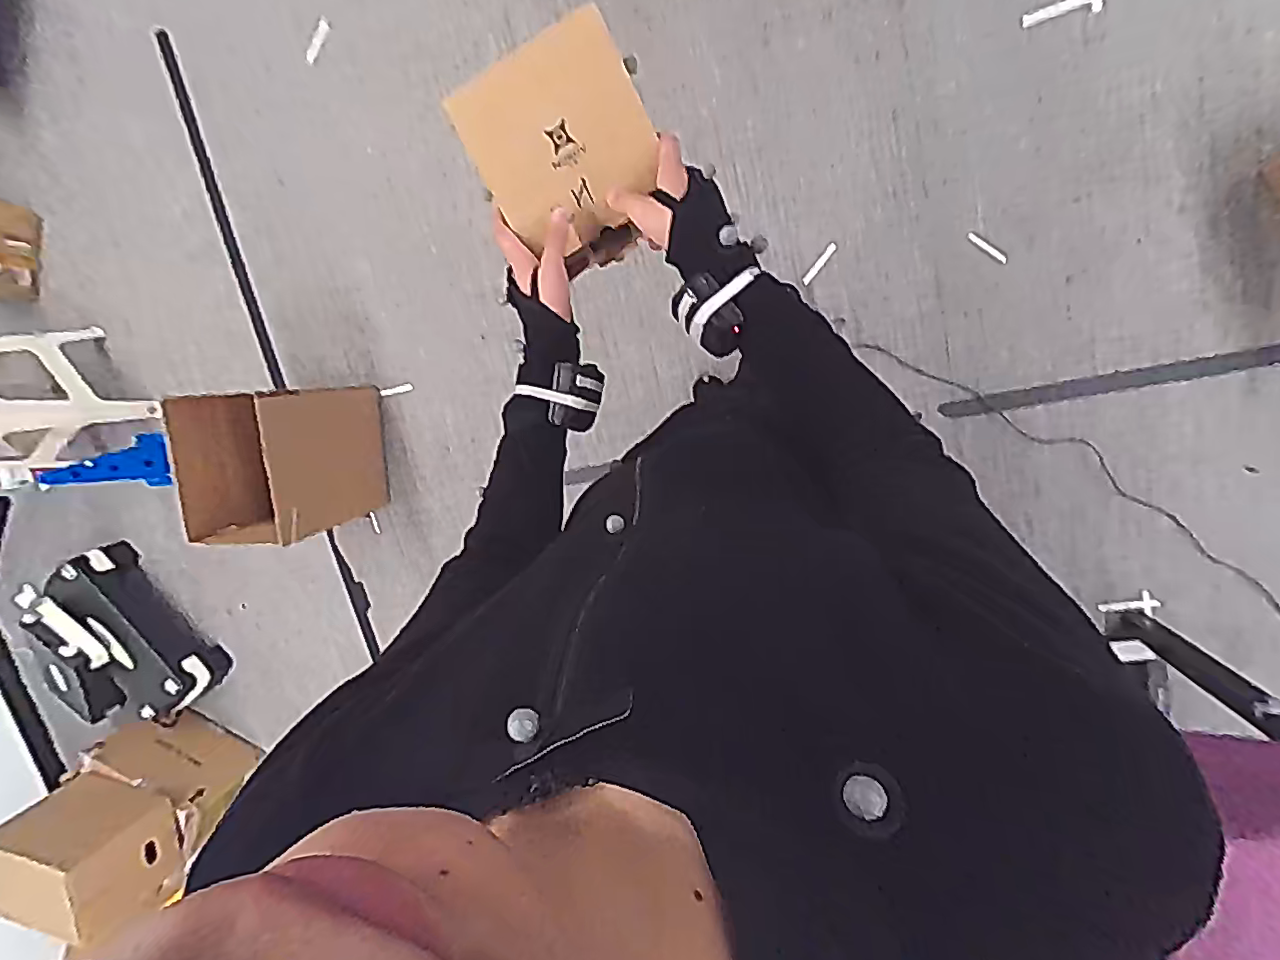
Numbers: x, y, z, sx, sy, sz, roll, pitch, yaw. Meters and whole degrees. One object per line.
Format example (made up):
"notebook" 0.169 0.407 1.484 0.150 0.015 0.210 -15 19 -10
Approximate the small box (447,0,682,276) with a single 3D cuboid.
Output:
"small box" -0.069 -0.341 0.584 0.168 0.176 0.179 -26 106 9
